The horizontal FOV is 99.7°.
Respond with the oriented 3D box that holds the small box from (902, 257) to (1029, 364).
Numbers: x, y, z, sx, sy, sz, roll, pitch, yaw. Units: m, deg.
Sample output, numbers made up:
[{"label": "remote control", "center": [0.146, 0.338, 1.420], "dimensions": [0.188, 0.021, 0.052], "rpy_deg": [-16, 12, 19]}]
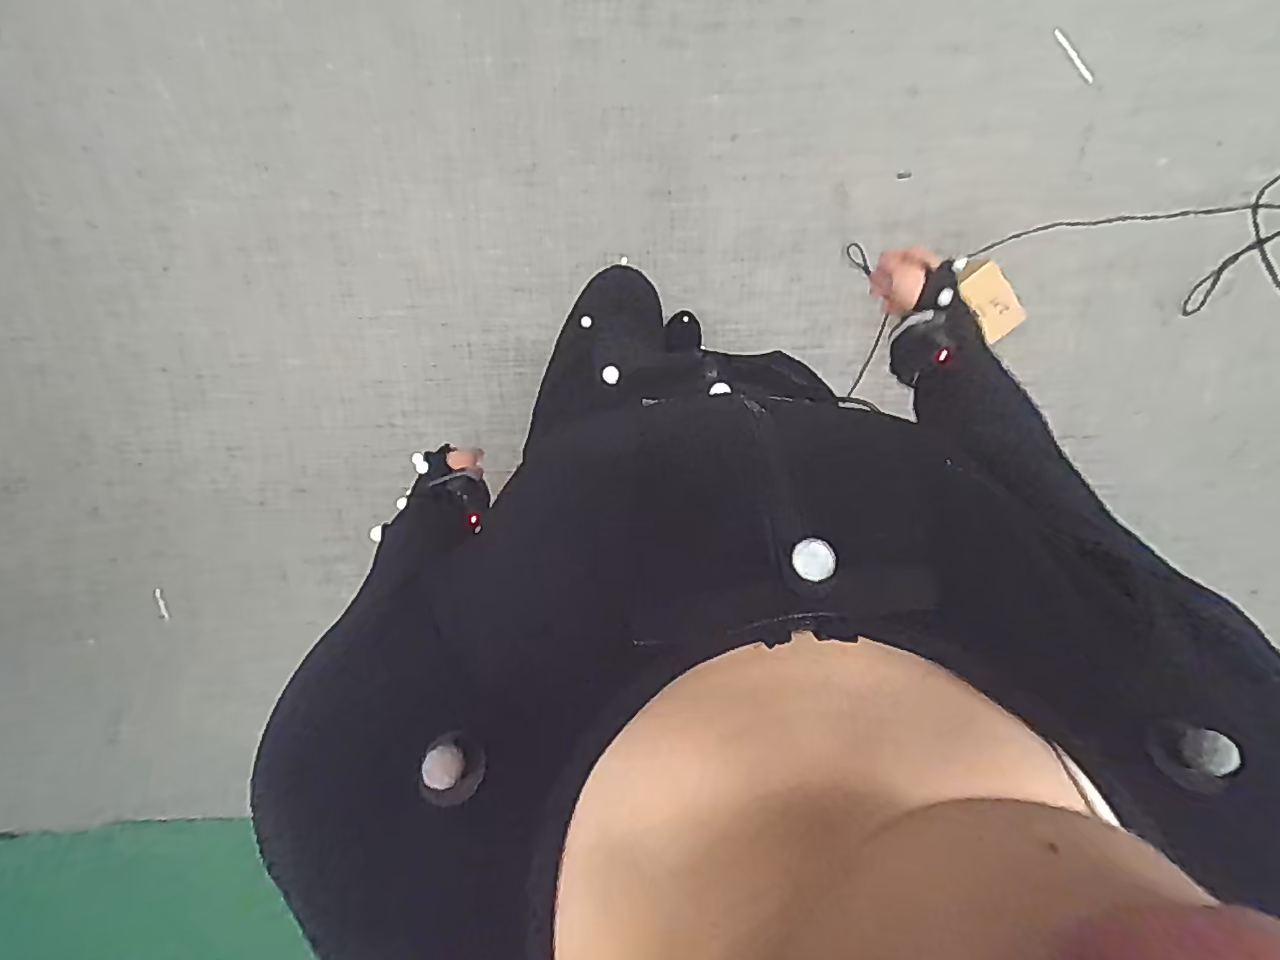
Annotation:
[{"label": "small box", "center": [0.756, -0.400, 1.283], "dimensions": [0.179, 0.176, 0.168], "rpy_deg": [-39, 105, 12]}]
